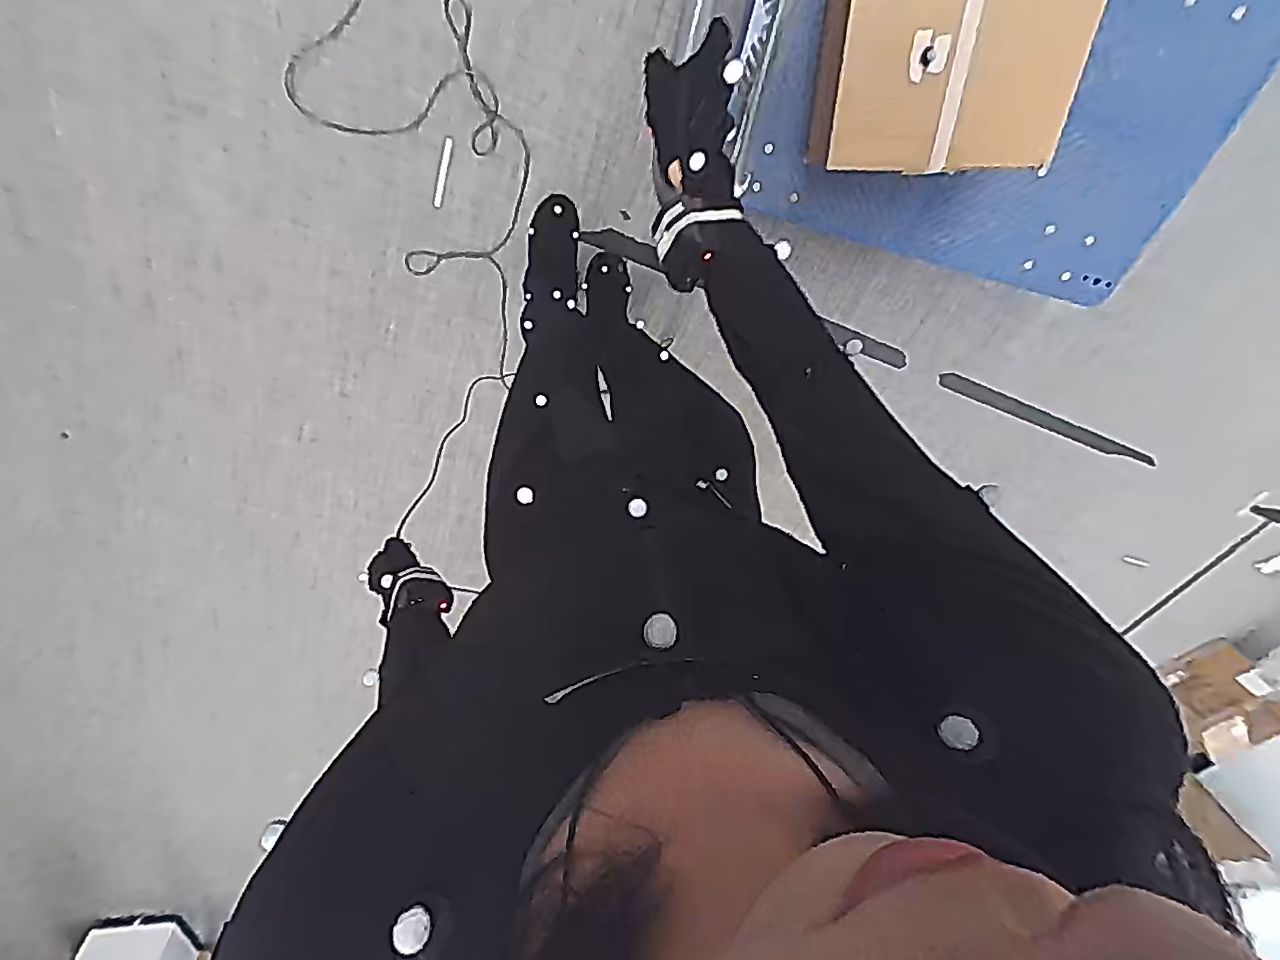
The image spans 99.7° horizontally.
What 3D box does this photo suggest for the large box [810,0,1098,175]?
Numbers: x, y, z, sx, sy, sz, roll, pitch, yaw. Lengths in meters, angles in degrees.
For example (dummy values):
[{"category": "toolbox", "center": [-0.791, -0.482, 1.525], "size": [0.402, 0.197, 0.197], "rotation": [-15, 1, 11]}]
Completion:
[{"category": "large box", "center": [0.454, -0.711, 0.824], "size": [0.320, 0.320, 0.408], "rotation": [4, 123, 9]}]
